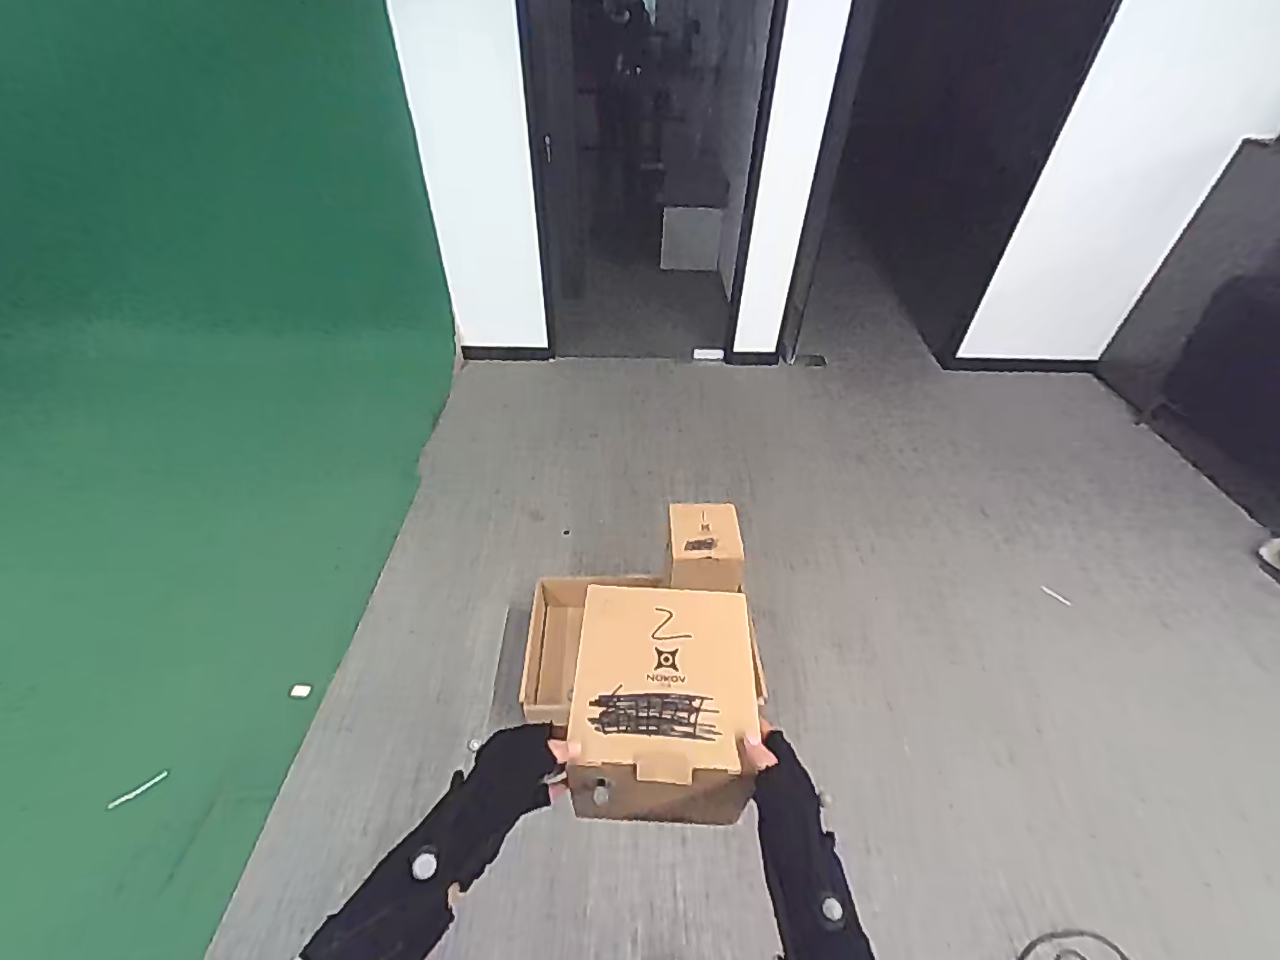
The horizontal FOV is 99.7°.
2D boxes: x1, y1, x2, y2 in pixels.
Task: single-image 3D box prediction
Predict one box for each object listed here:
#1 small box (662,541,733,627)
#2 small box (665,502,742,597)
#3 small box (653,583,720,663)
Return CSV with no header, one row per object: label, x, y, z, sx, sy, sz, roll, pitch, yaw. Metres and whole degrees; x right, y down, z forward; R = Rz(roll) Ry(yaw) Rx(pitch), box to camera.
small box,0.147,0.277,1.435,0.168,0.176,0.179,0,43,-2
small box,0.149,0.173,1.330,0.168,0.176,0.179,1,43,-2
small box,0.130,0.411,1.557,0.168,0.176,0.179,-4,42,-4
